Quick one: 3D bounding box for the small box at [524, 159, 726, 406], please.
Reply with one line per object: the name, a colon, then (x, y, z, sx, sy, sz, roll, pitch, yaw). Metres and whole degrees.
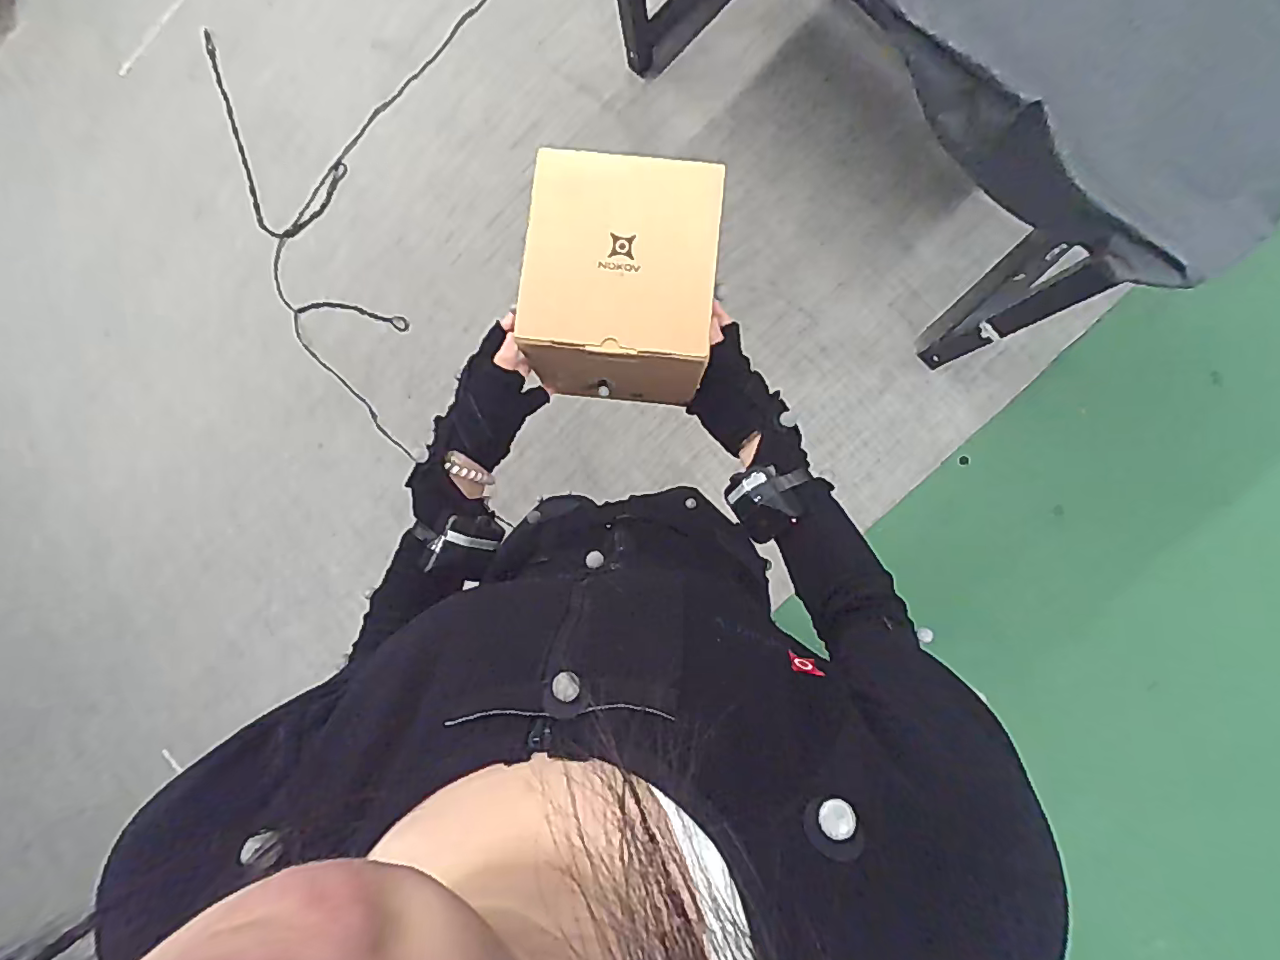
small box: (-0.013, -0.187, 0.556, 0.168, 0.176, 0.179, 6, 85, 1)
